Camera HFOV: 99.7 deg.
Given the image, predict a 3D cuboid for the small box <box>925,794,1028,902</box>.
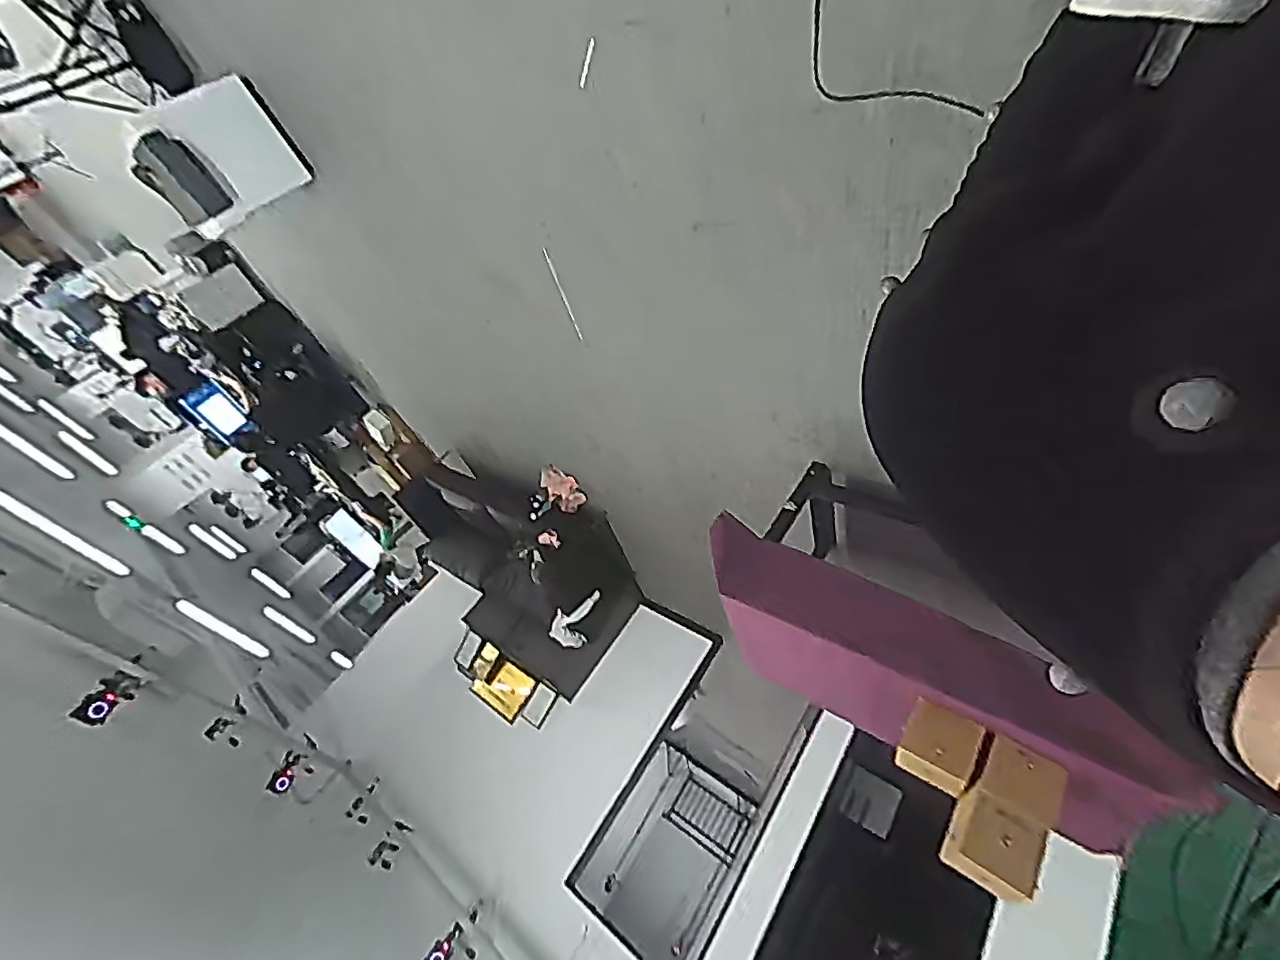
[{"bbox_3d":[0.871,0.945,1.399,0.168,0.176,0.179,26,149,27],"label":"small box"}]
